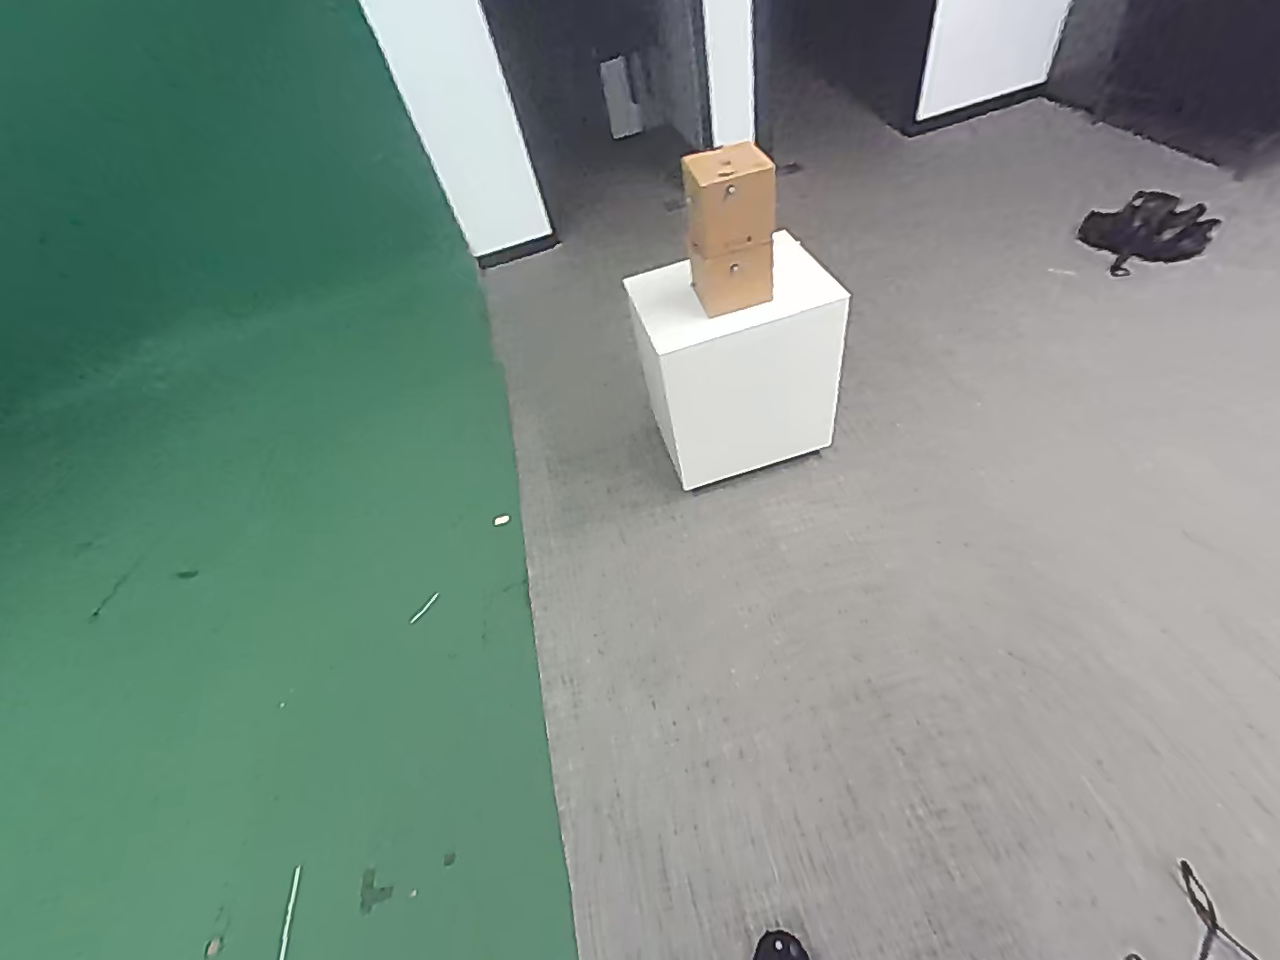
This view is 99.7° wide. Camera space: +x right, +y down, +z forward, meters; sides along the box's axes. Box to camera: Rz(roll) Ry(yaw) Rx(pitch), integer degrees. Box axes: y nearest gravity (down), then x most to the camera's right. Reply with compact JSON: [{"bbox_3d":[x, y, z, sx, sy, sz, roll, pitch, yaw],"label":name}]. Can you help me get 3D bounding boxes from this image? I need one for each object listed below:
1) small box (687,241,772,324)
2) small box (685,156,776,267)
[{"bbox_3d":[0.236,-0.531,1.407,0.179,0.176,0.168,-16,48,0],"label":"small box"},{"bbox_3d":[0.212,-0.638,1.290,0.168,0.176,0.179,-16,49,-2],"label":"small box"}]
